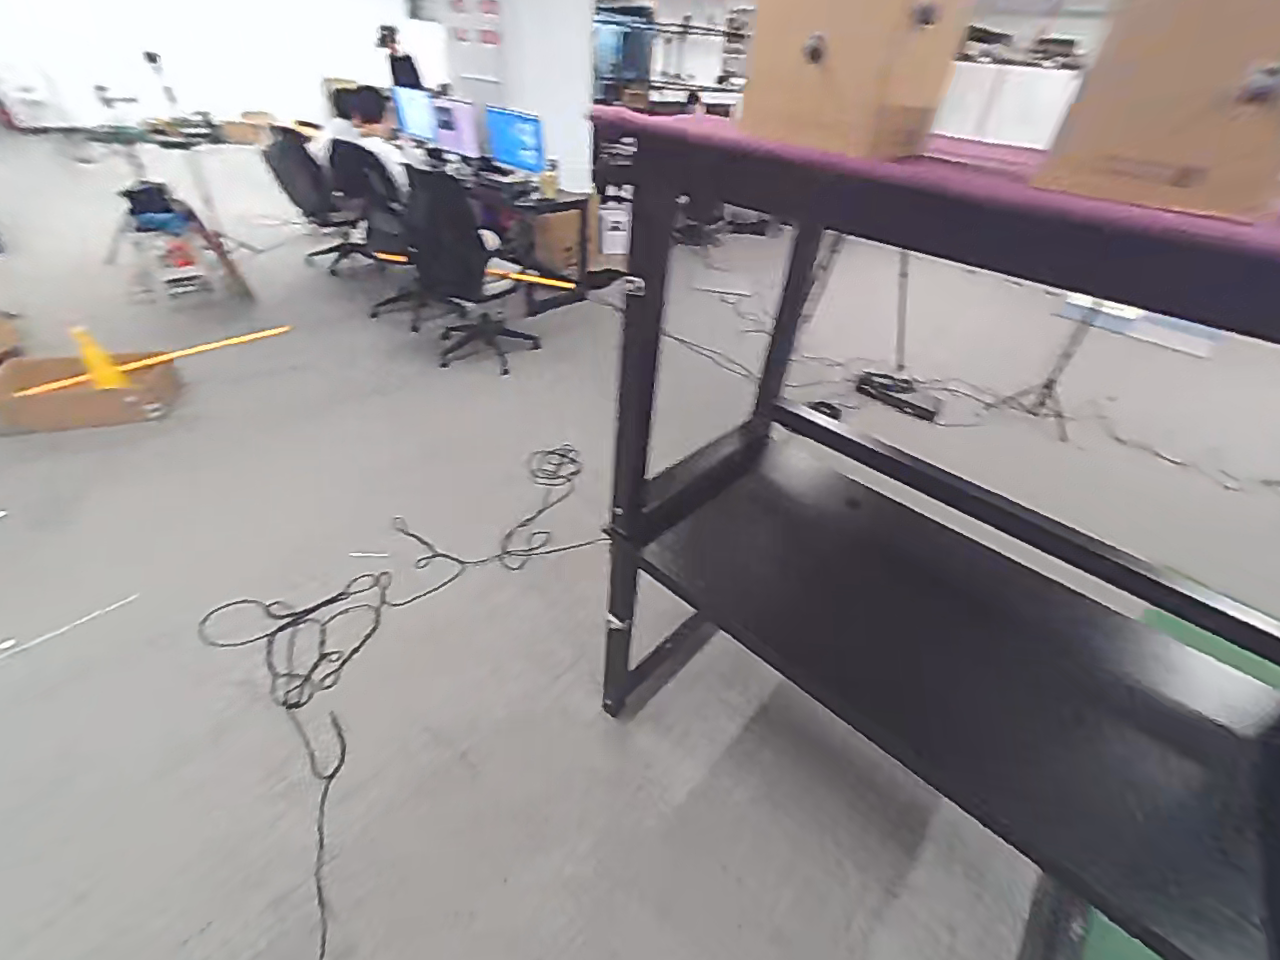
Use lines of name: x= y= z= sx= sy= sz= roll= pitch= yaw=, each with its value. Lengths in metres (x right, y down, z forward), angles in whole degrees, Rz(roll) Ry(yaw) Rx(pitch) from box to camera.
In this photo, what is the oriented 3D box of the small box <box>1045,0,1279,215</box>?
small box: x=0.493 y=-0.338 z=0.465 sx=0.168 sy=0.176 sz=0.179 roll=35 pitch=45 yaw=31
